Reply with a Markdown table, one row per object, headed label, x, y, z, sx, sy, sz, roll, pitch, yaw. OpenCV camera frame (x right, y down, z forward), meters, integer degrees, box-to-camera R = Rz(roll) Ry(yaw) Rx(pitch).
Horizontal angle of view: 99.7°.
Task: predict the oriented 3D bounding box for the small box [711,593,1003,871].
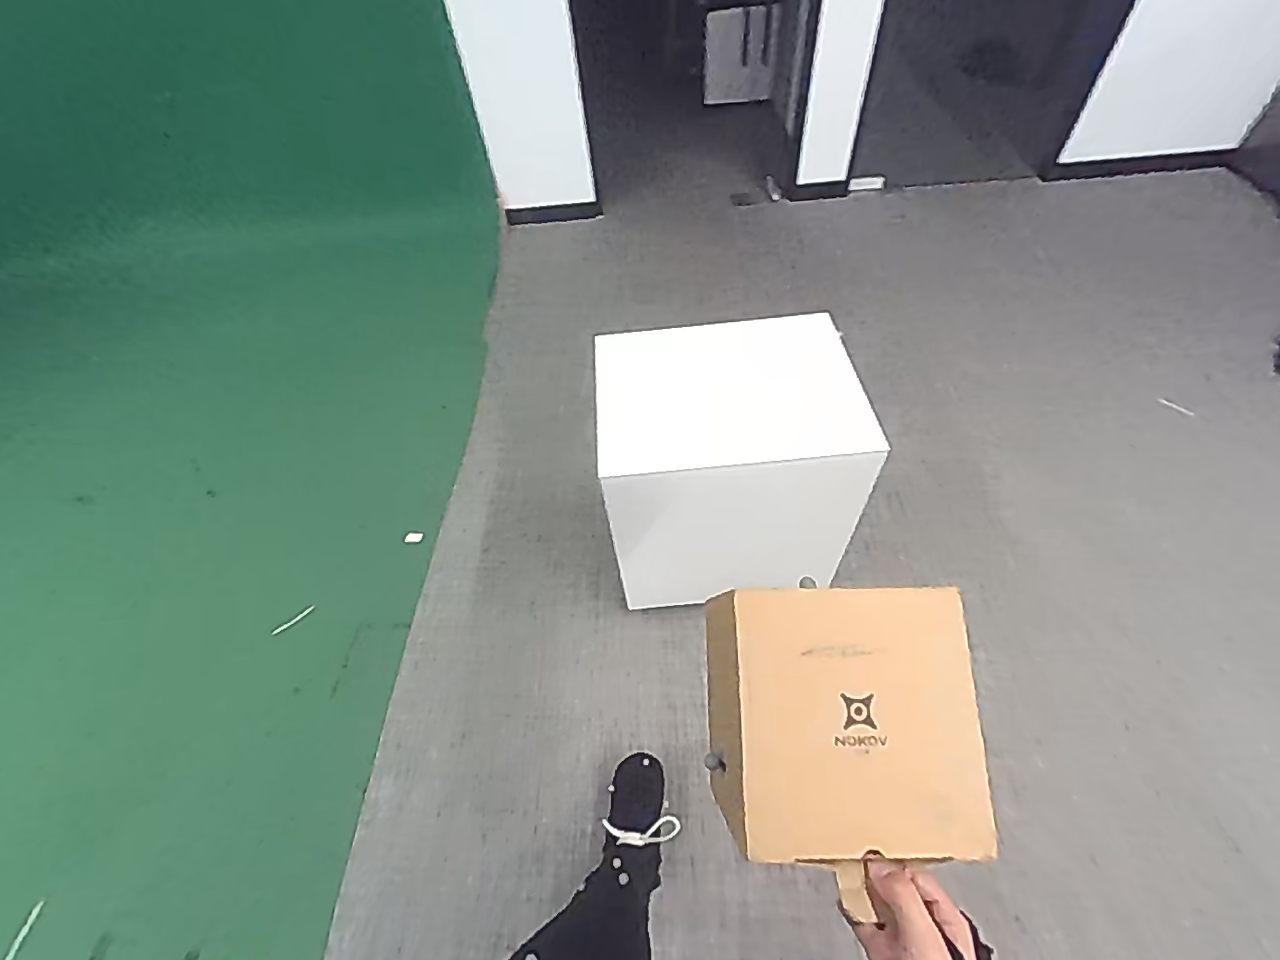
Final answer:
| label | x | y | z | sx | sy | sz | roll | pitch | yaw |
| --- | --- | --- | --- | --- | --- | --- | --- | --- | --- |
| small box | 0.152 | 0.188 | 0.445 | 0.168 | 0.176 | 0.179 | 0 | 73 | -1 |
